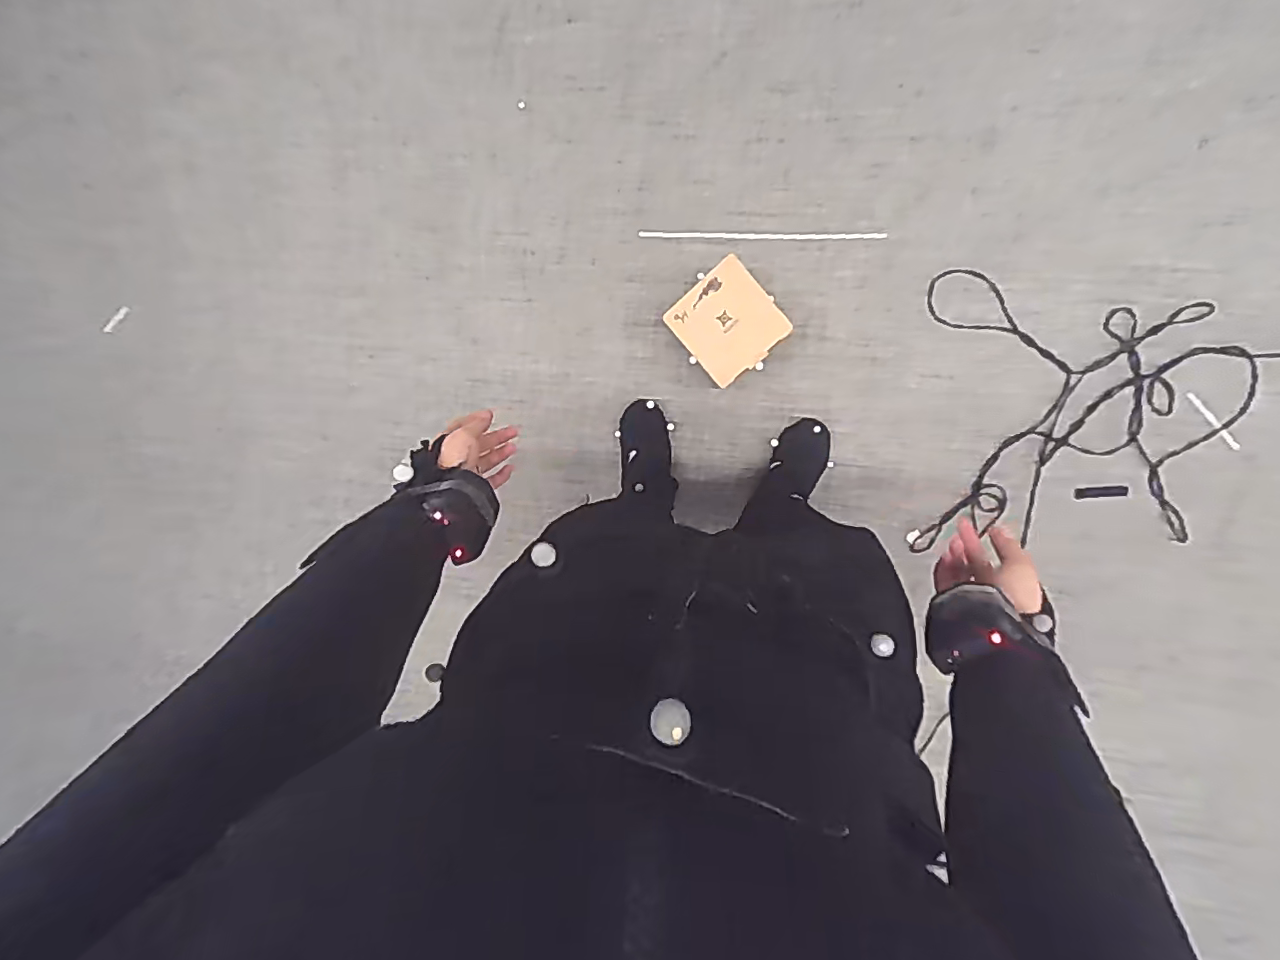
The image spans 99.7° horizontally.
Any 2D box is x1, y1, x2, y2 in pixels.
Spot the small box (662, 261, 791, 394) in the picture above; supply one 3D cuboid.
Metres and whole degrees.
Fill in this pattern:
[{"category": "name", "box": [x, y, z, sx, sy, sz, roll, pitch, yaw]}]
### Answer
[{"category": "small box", "box": [0.168, -0.289, 1.047, 0.168, 0.176, 0.179, -40, 92, 14]}]
